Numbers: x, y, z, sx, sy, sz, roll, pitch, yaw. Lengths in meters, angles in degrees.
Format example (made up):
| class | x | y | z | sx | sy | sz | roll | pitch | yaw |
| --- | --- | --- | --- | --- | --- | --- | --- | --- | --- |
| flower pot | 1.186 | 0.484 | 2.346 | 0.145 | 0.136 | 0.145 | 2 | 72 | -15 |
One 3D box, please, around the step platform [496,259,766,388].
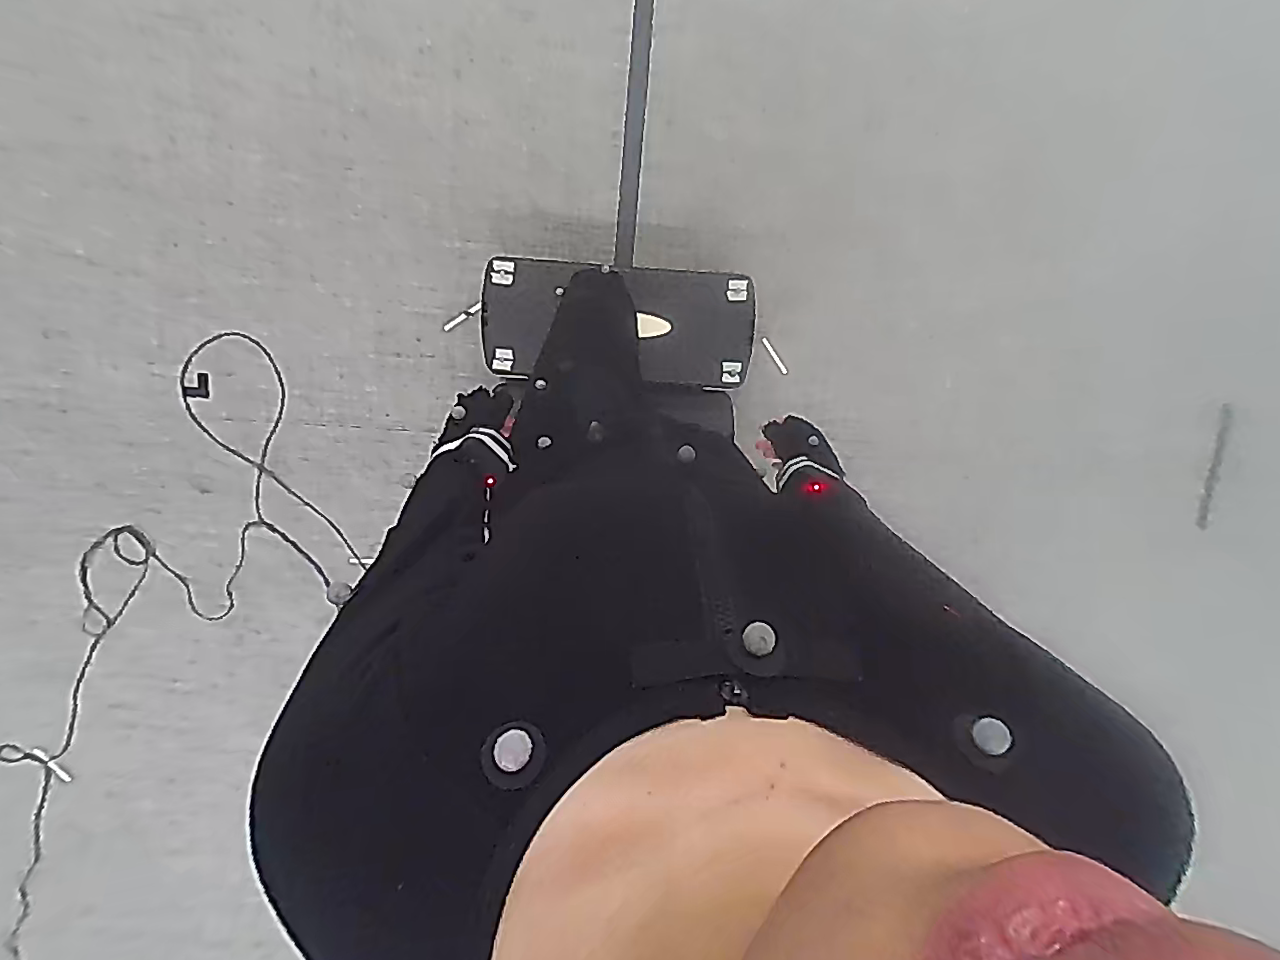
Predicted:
| class | x | y | z | sx | sy | sz | roll | pitch | yaw |
| --- | --- | --- | --- | --- | --- | --- | --- | --- | --- |
| step platform | -0.022 | -0.397 | 1.403 | 0.684 | 0.204 | 0.286 | 2 | 100 | -4 |
